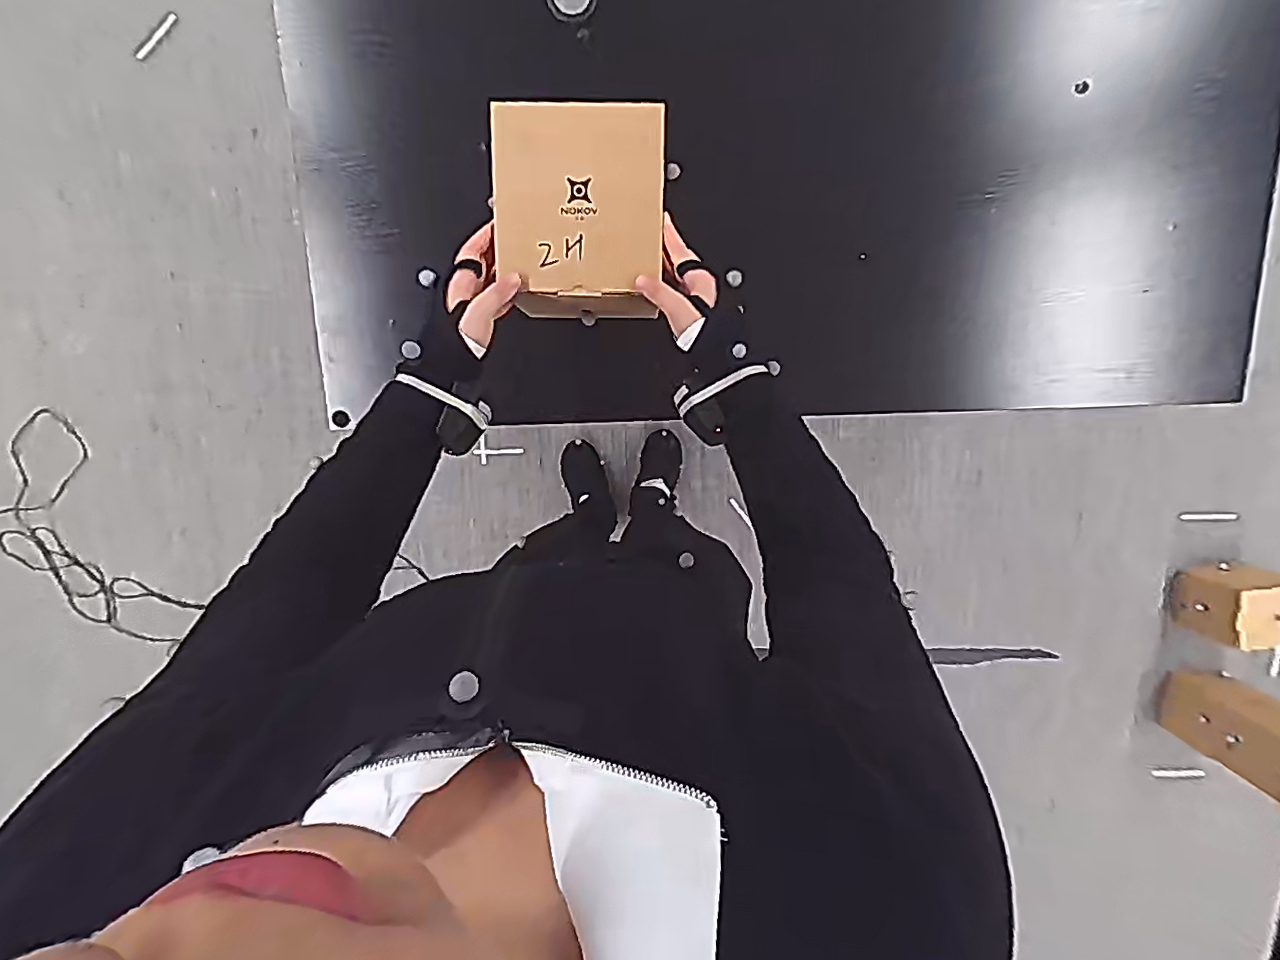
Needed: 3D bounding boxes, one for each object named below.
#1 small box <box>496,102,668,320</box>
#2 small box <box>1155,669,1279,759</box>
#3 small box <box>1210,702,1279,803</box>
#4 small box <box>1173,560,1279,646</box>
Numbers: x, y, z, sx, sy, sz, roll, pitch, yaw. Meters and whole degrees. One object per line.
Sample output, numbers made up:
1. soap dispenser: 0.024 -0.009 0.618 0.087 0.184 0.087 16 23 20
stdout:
1. small box: -0.057 -0.282 0.602 0.168 0.176 0.179 0 99 0
2. small box: 1.609 0.650 1.513 0.168 0.176 0.179 2 102 0
3. small box: 1.609 0.674 1.353 0.179 0.176 0.168 -3 99 2
4. small box: 1.593 0.326 1.451 0.179 0.176 0.168 -7 100 2
